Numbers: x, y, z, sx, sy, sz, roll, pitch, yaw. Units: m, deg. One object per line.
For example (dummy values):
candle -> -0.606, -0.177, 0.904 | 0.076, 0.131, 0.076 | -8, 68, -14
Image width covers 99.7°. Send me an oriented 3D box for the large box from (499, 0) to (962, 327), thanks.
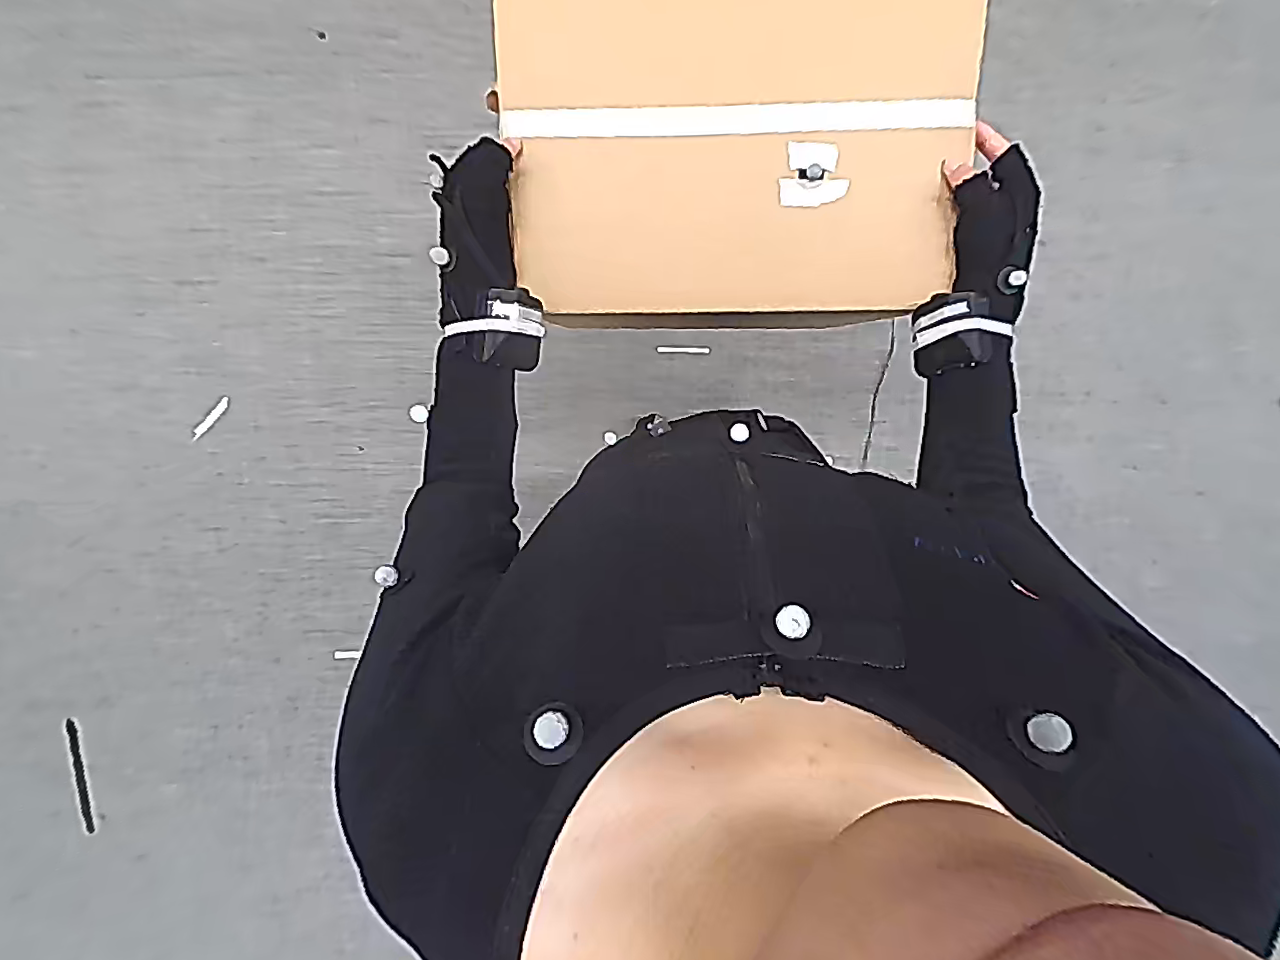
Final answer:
large box -> 0.079, -0.351, 0.630 | 0.408, 0.320, 0.320 | -1, 104, 1
